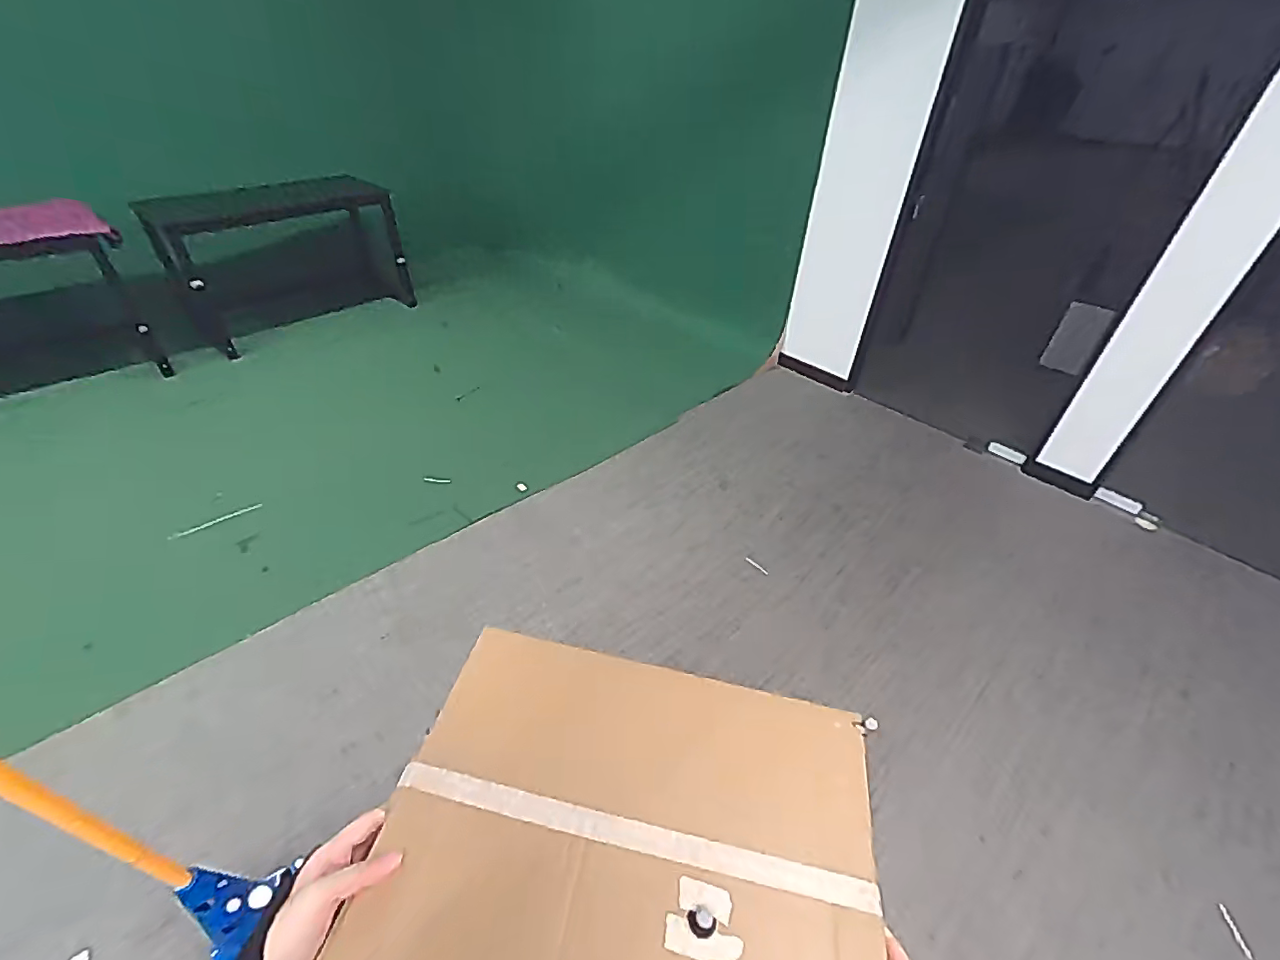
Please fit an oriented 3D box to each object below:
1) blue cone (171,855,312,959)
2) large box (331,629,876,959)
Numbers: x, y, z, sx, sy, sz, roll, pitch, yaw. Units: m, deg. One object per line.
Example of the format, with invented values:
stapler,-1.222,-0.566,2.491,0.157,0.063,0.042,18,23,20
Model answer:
blue cone,-0.817,0.840,1.072,0.193,0.380,0.192,-21,44,-27
large box,-0.016,0.408,0.564,0.408,0.320,0.320,12,43,6
